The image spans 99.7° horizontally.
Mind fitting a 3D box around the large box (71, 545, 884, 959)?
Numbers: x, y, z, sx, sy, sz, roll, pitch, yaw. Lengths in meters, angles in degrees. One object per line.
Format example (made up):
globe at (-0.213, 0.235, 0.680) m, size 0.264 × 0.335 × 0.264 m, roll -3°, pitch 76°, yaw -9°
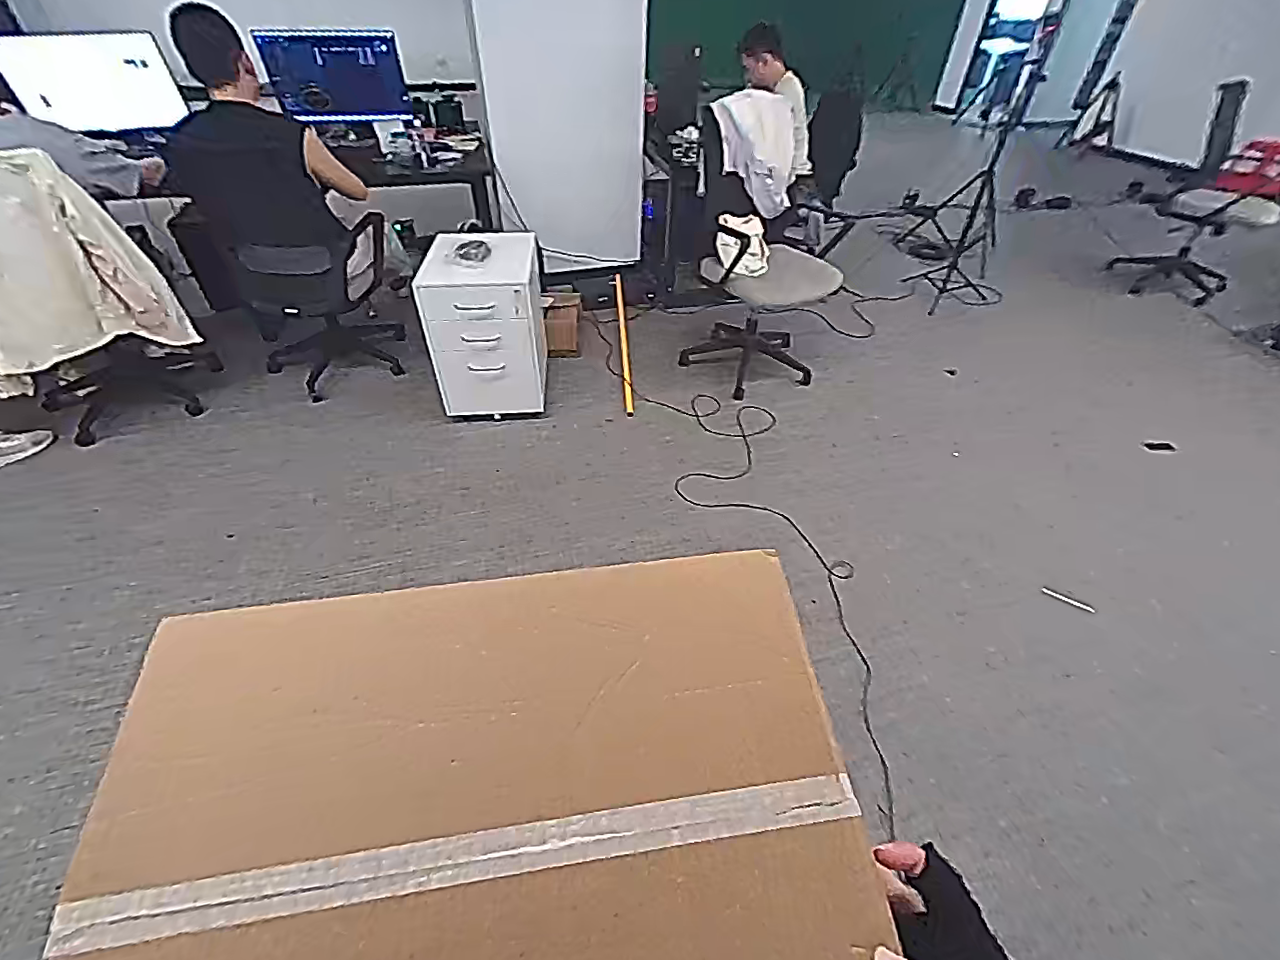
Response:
large box at (-0.090, 0.278, 0.422) m, size 0.408 × 0.320 × 0.320 m, roll -6°, pitch 57°, yaw -6°
